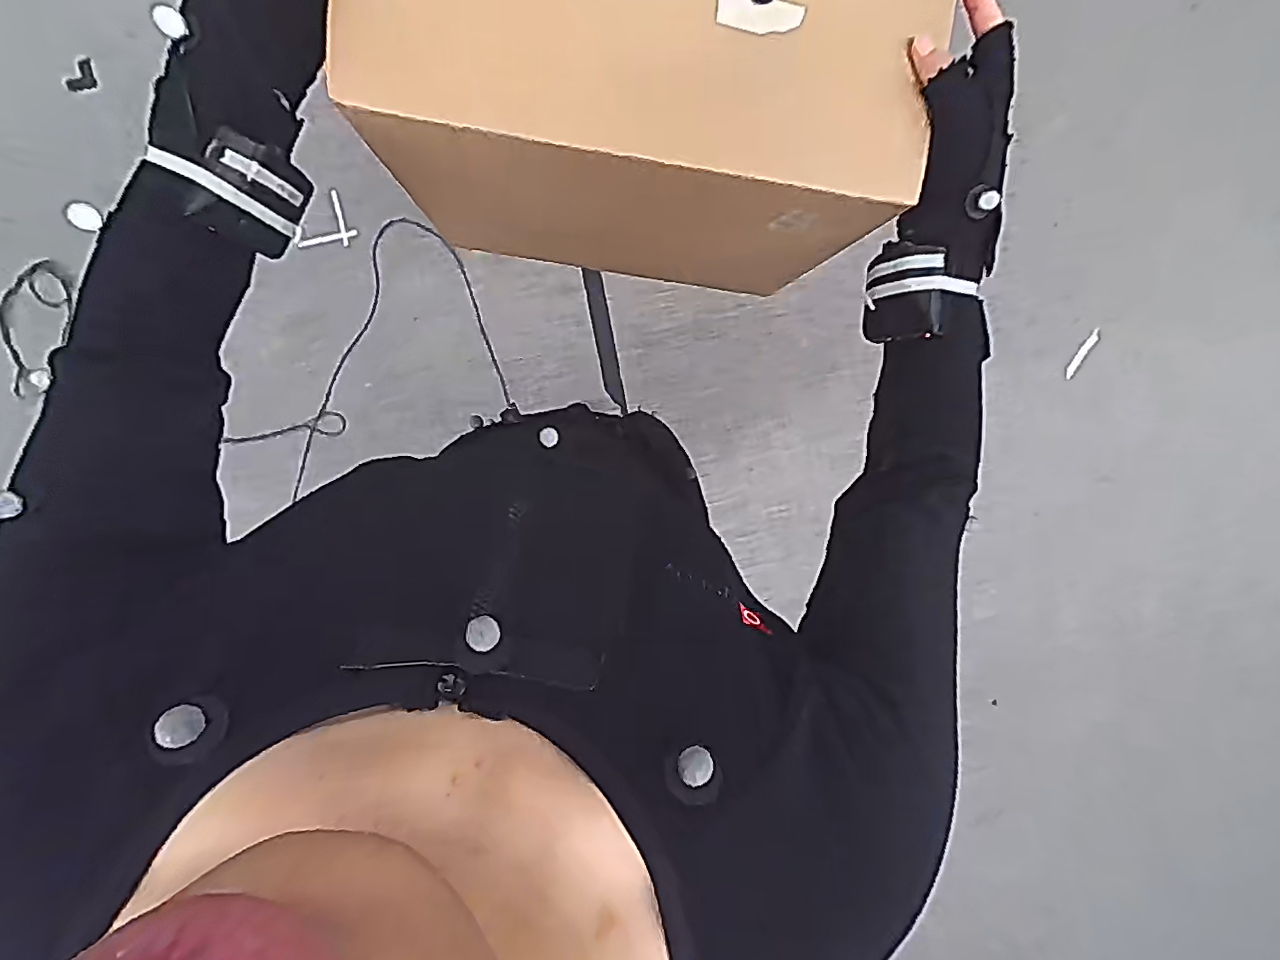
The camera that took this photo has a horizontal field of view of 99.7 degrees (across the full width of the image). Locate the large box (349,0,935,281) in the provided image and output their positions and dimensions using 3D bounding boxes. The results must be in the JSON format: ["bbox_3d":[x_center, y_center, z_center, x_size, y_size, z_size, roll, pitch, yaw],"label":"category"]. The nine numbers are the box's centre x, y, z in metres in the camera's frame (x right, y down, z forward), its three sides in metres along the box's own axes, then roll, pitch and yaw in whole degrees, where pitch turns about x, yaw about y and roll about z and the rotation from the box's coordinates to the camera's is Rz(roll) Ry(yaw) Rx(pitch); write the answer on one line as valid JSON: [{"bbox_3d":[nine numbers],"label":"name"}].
[{"bbox_3d":[0.000,-0.401,0.508,0.408,0.320,0.320,6,97,-7],"label":"large box"}]
